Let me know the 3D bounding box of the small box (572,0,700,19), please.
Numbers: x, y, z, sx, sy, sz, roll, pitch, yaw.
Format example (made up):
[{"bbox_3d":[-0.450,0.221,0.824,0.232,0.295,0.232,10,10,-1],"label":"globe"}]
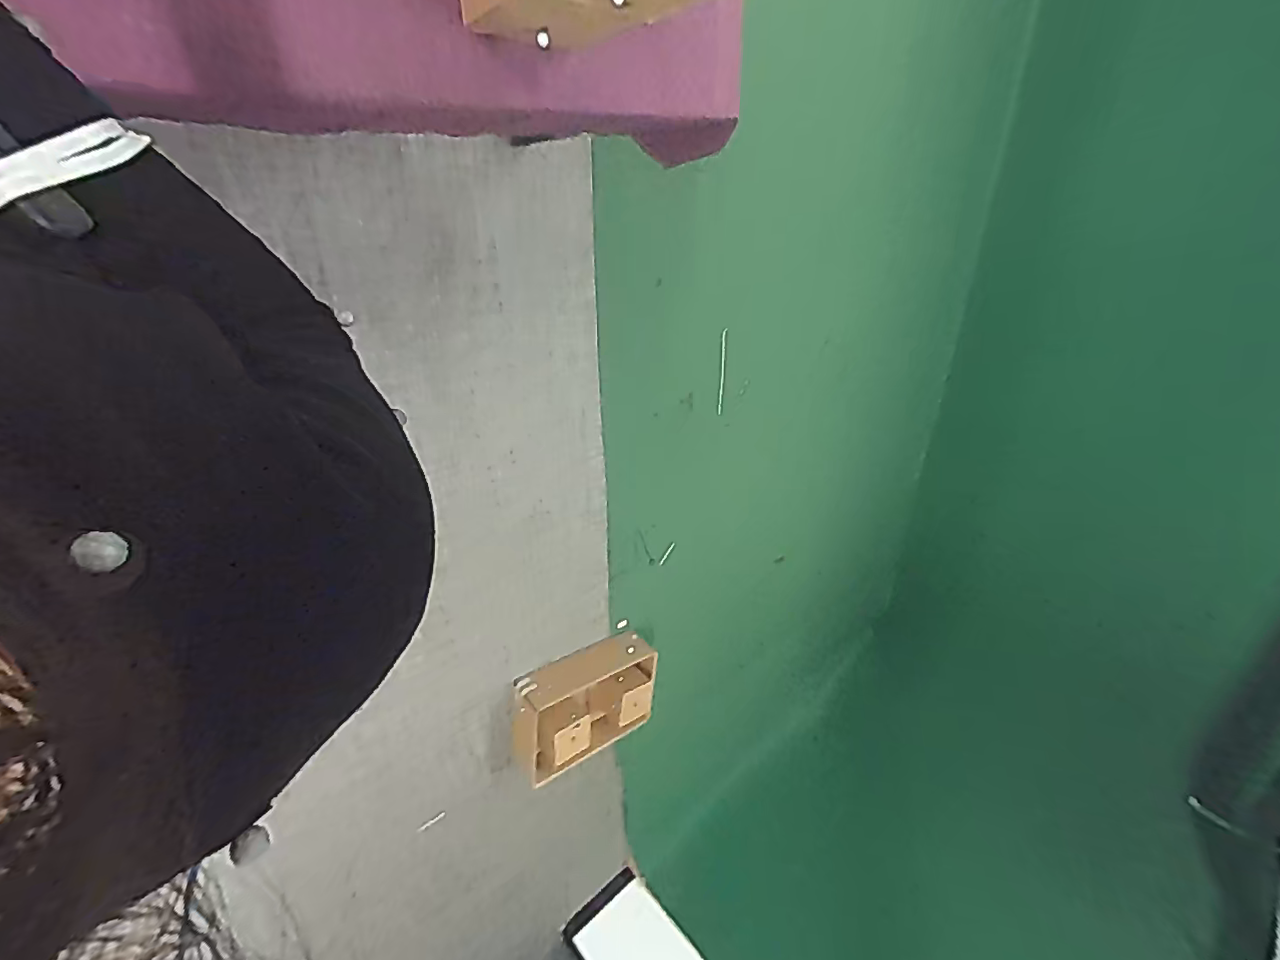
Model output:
[{"bbox_3d":[0.003,-0.578,0.509,0.168,0.176,0.179,-22,124,-36],"label":"small box"}]

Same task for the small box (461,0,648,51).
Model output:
[{"bbox_3d":[-0.106,-0.629,0.619,0.168,0.176,0.179,-21,123,-35],"label":"small box"}]

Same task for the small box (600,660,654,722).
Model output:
[{"bbox_3d":[-0.061,0.929,2.405,0.168,0.176,0.179,-10,116,-39],"label":"small box"}]
